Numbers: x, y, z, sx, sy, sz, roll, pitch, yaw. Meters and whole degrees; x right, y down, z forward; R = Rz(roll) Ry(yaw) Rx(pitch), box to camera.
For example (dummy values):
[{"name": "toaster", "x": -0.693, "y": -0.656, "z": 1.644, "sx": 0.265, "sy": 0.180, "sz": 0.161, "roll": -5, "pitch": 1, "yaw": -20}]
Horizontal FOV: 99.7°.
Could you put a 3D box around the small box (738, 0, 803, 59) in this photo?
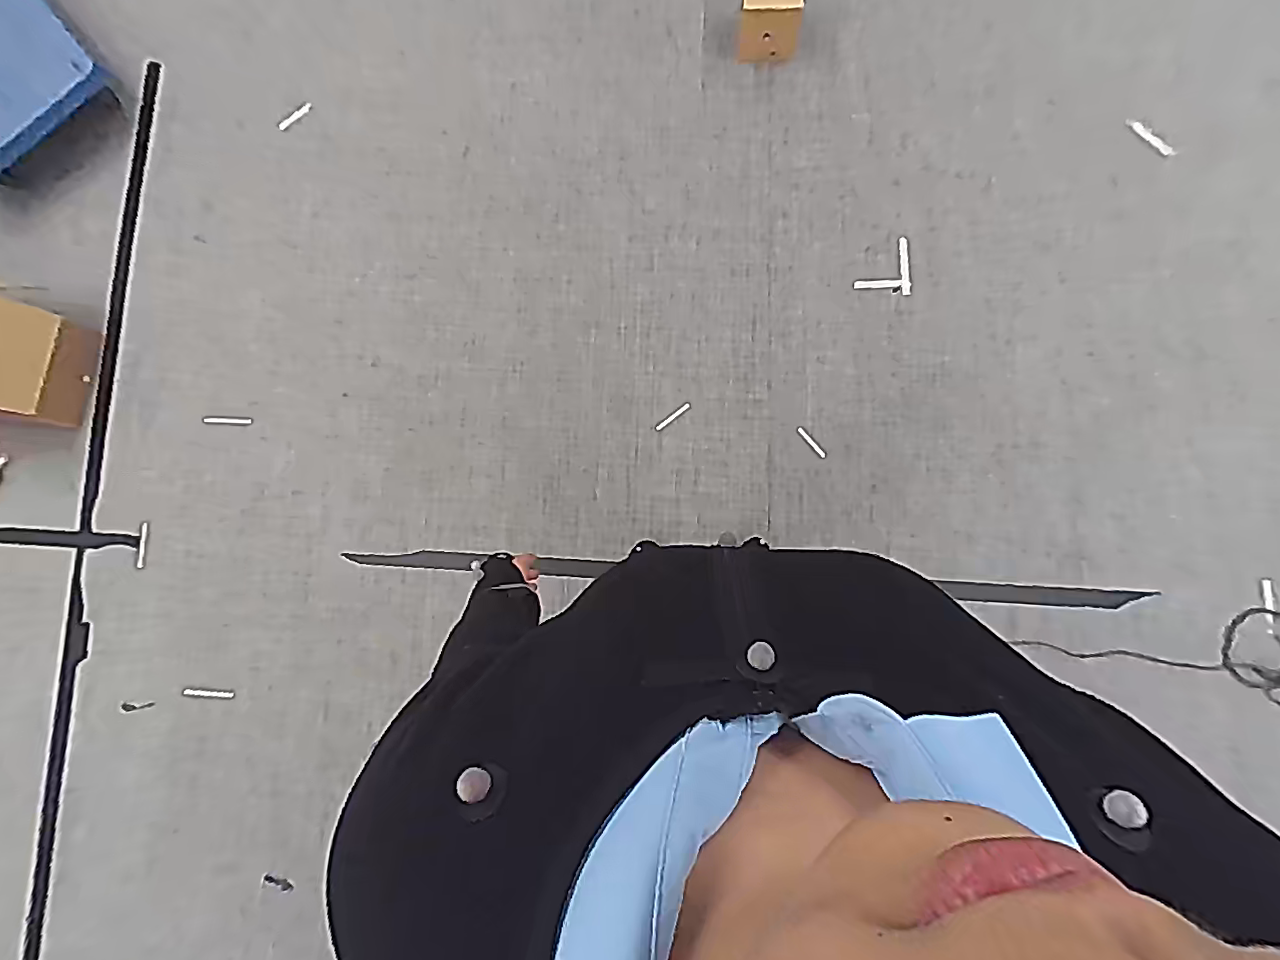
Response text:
[{"name": "small box", "x": 0.383, "y": -1.385, "z": 1.590, "sx": 0.168, "sy": 0.176, "sz": 0.179, "roll": 4, "pitch": 84, "yaw": 4}]
